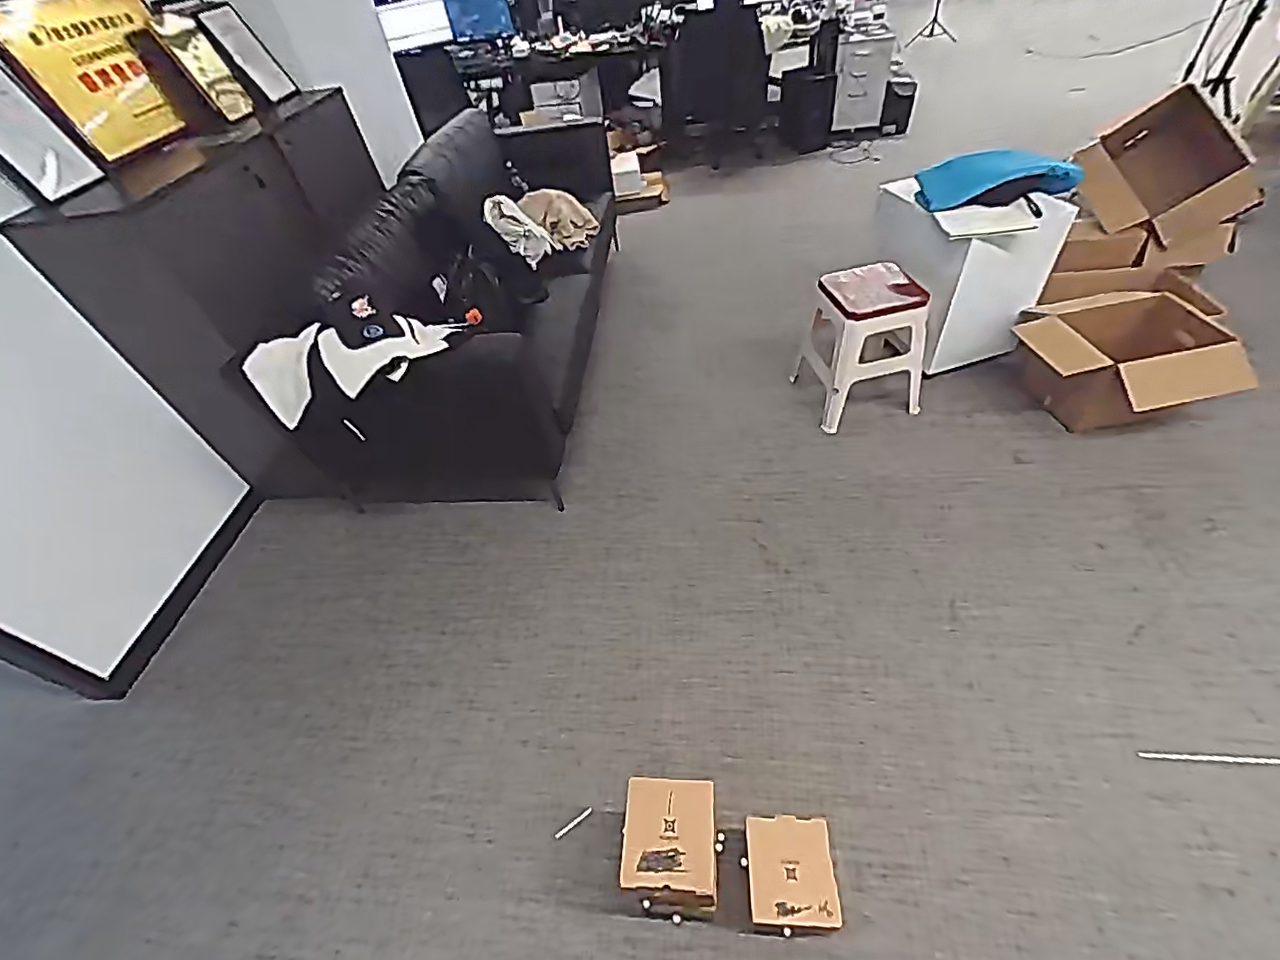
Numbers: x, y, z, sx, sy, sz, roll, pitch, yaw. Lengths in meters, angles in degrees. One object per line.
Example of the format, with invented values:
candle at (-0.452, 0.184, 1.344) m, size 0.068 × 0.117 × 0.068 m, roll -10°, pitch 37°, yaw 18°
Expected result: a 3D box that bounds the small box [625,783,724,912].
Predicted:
small box at (0.073, 0.701, 1.030) m, size 0.168 × 0.176 × 0.179 m, roll -2°, pitch 46°, yaw 9°
